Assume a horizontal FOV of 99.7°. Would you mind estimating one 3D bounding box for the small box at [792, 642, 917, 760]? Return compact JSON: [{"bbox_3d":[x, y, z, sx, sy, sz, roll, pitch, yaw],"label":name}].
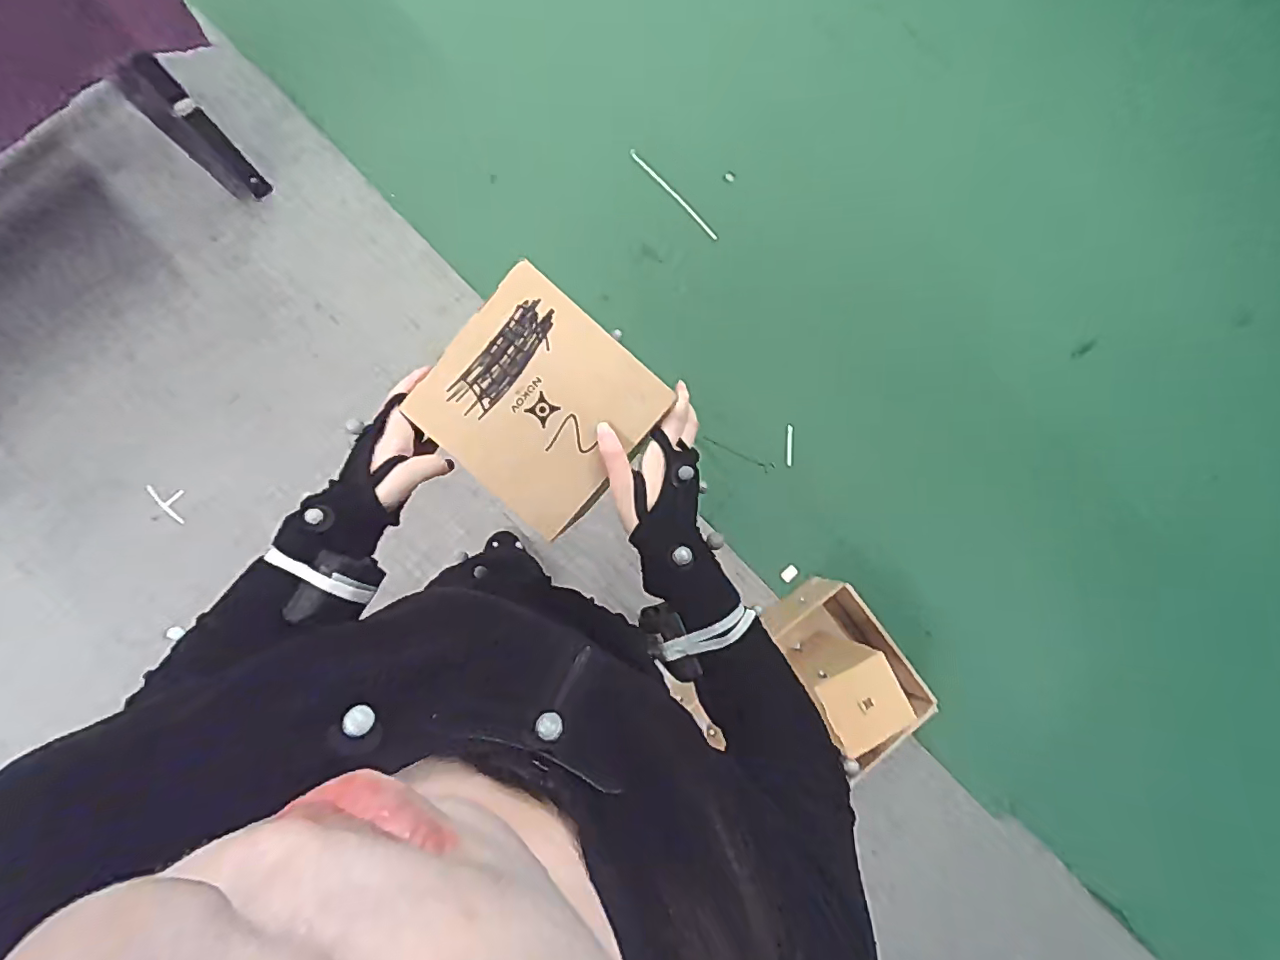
[{"bbox_3d":[0.478,0.490,1.230,0.179,0.176,0.168,-26,86,-5],"label":"small box"}]
